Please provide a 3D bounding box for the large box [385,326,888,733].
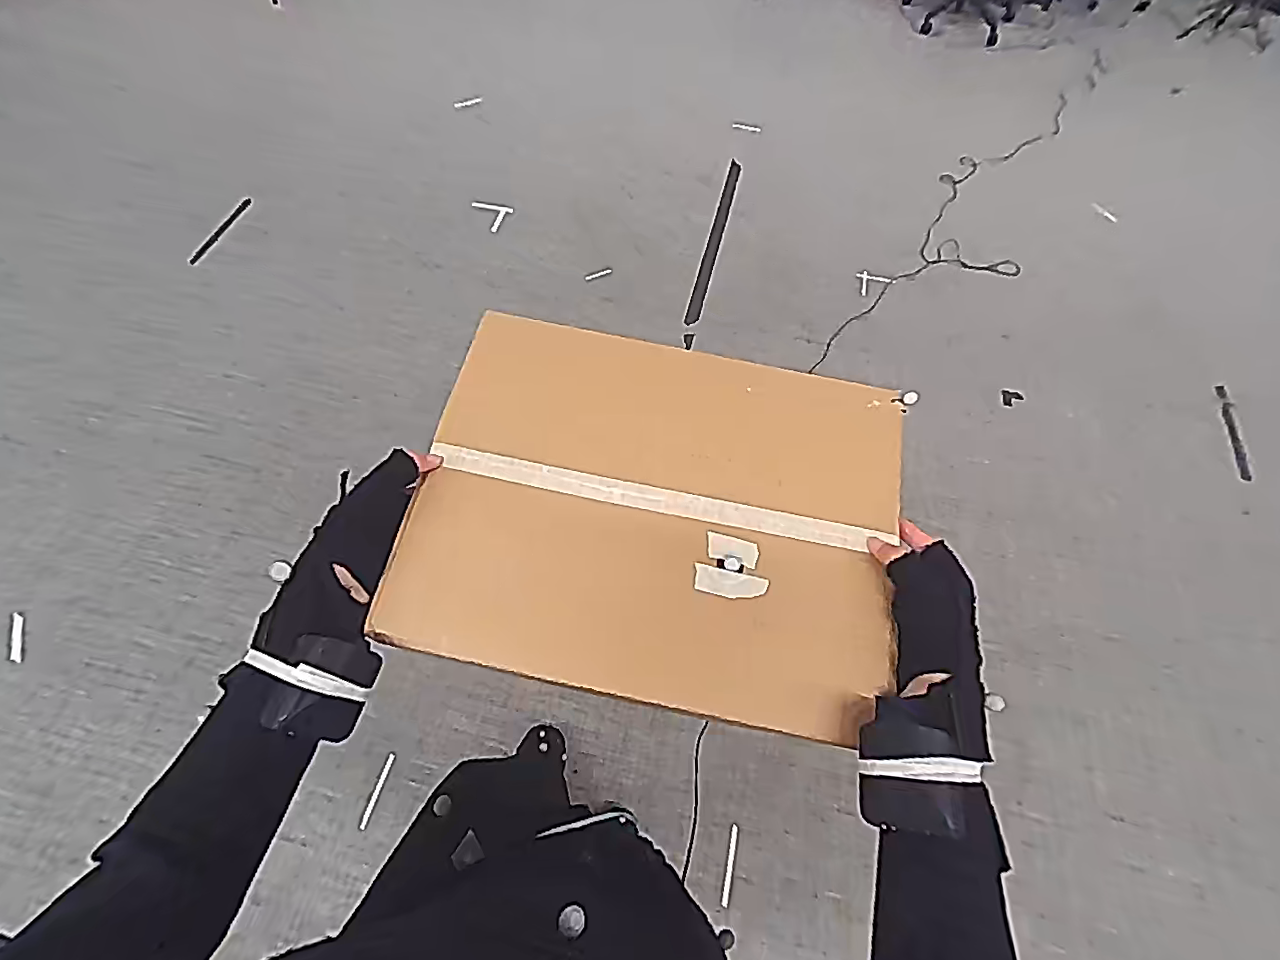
[{"bbox_3d":[0.010,0.076,0.612,0.408,0.320,0.320,12,69,1],"label":"large box"}]
